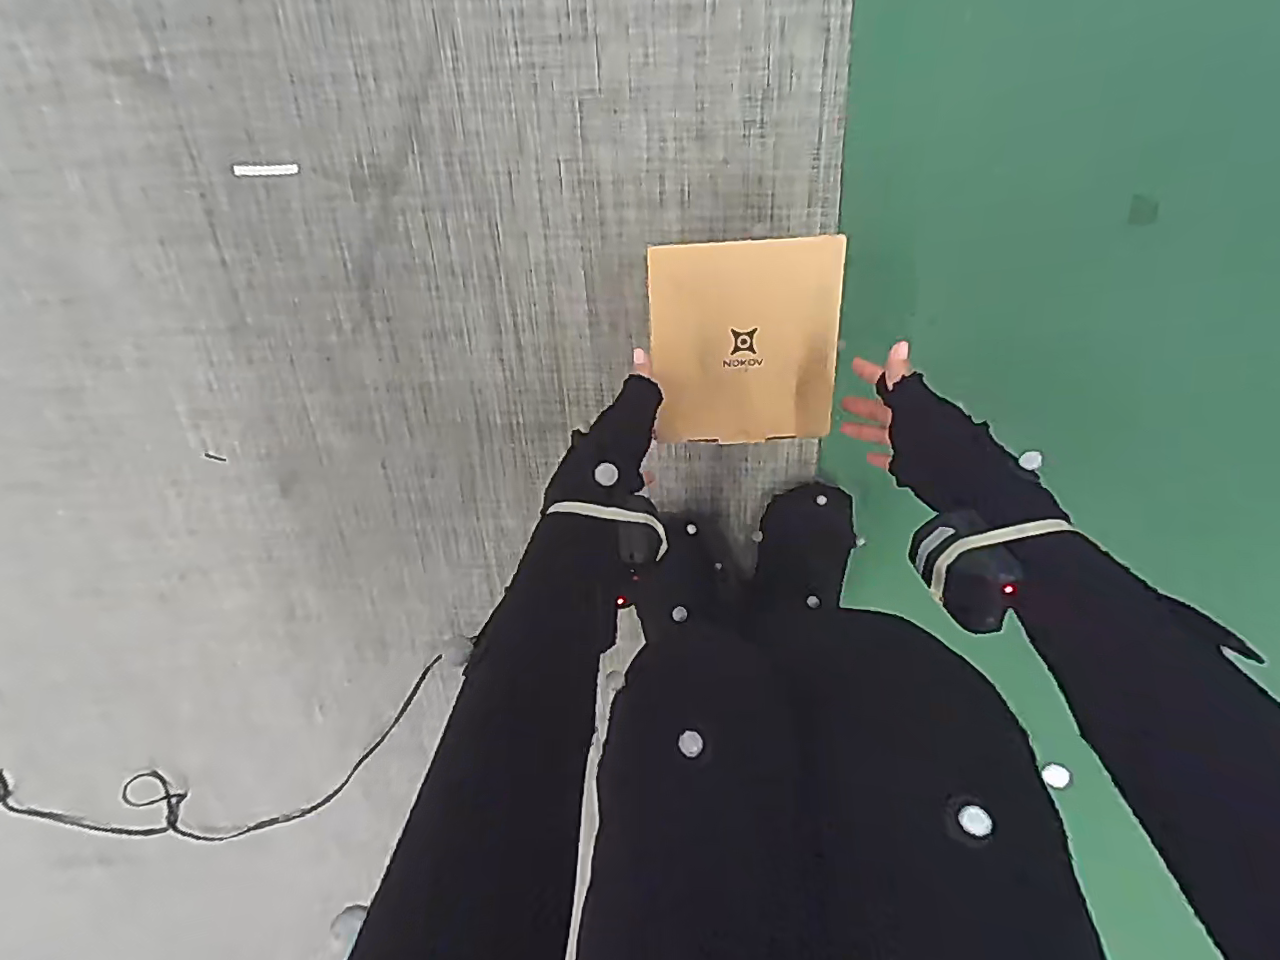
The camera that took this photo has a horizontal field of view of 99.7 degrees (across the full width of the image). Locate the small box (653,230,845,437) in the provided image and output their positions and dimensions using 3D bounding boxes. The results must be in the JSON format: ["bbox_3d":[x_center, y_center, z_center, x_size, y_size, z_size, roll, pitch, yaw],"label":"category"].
[{"bbox_3d":[0.098,-0.153,0.558,0.168,0.176,0.179,-2,112,4],"label":"small box"}]
